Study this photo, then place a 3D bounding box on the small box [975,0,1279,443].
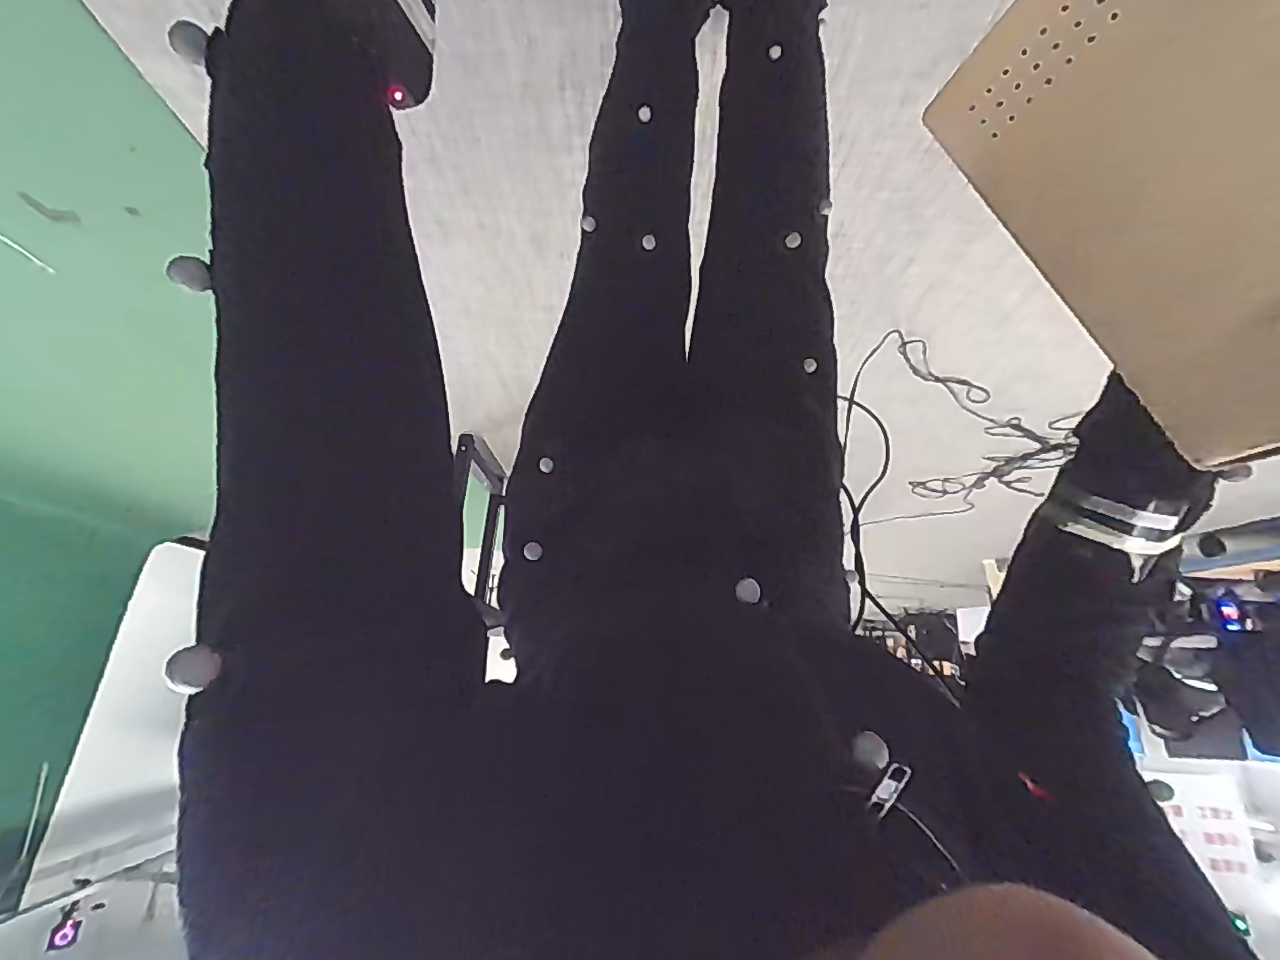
[{"bbox_3d":[0.241,-0.142,0.157,0.168,0.176,0.179,-29,173,-26],"label":"small box"}]
